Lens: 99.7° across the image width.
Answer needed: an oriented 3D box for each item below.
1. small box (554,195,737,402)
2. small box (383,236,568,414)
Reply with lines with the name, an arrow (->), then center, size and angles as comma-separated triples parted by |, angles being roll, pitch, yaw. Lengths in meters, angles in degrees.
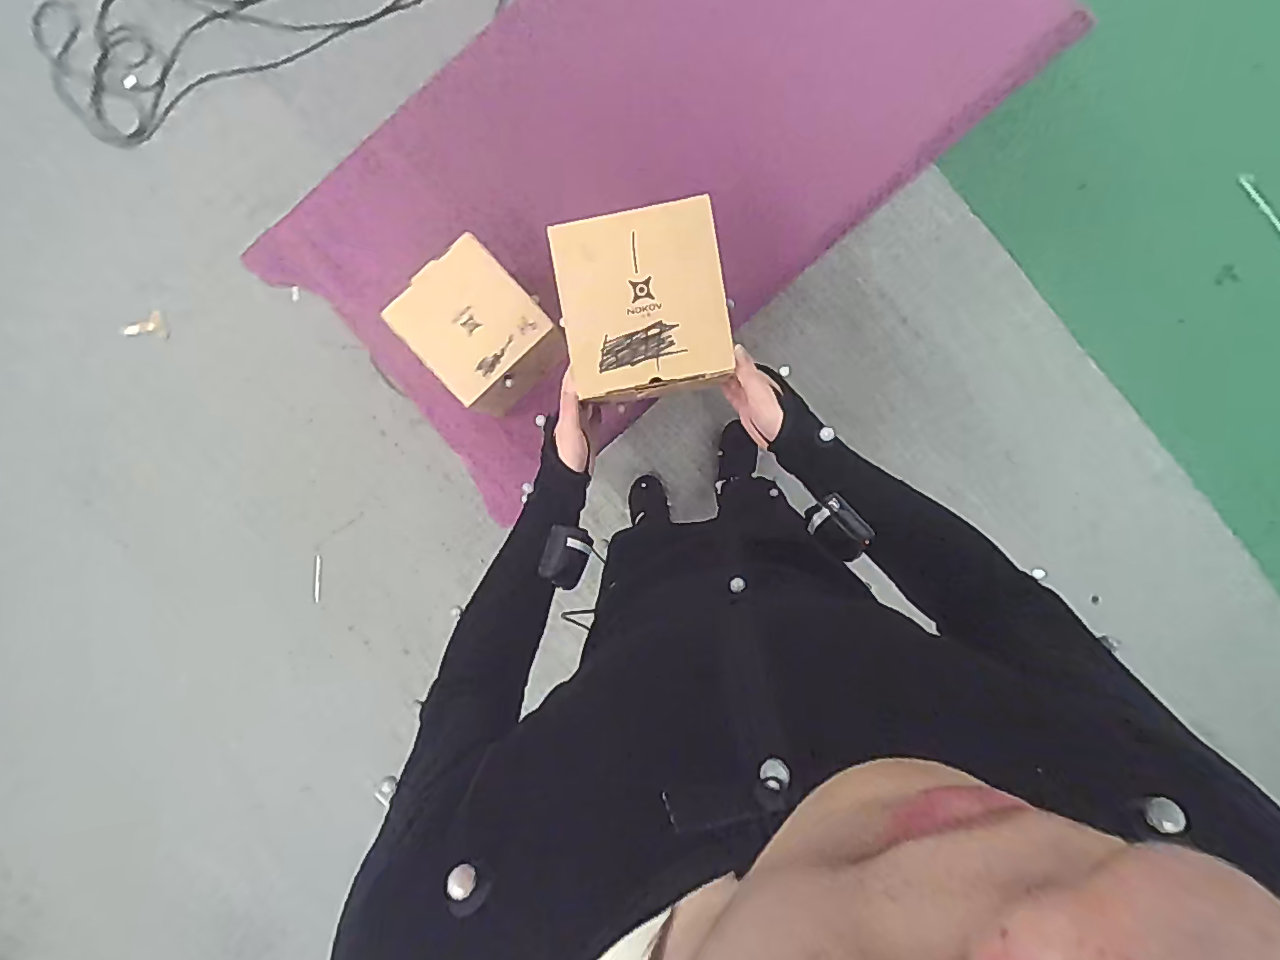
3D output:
small box -> 0.012, -0.187, 0.615 | 0.168, 0.176, 0.179 | -9, 93, 4
small box -> -0.232, -0.216, 0.809 | 0.168, 0.176, 0.179 | -43, 91, 3
